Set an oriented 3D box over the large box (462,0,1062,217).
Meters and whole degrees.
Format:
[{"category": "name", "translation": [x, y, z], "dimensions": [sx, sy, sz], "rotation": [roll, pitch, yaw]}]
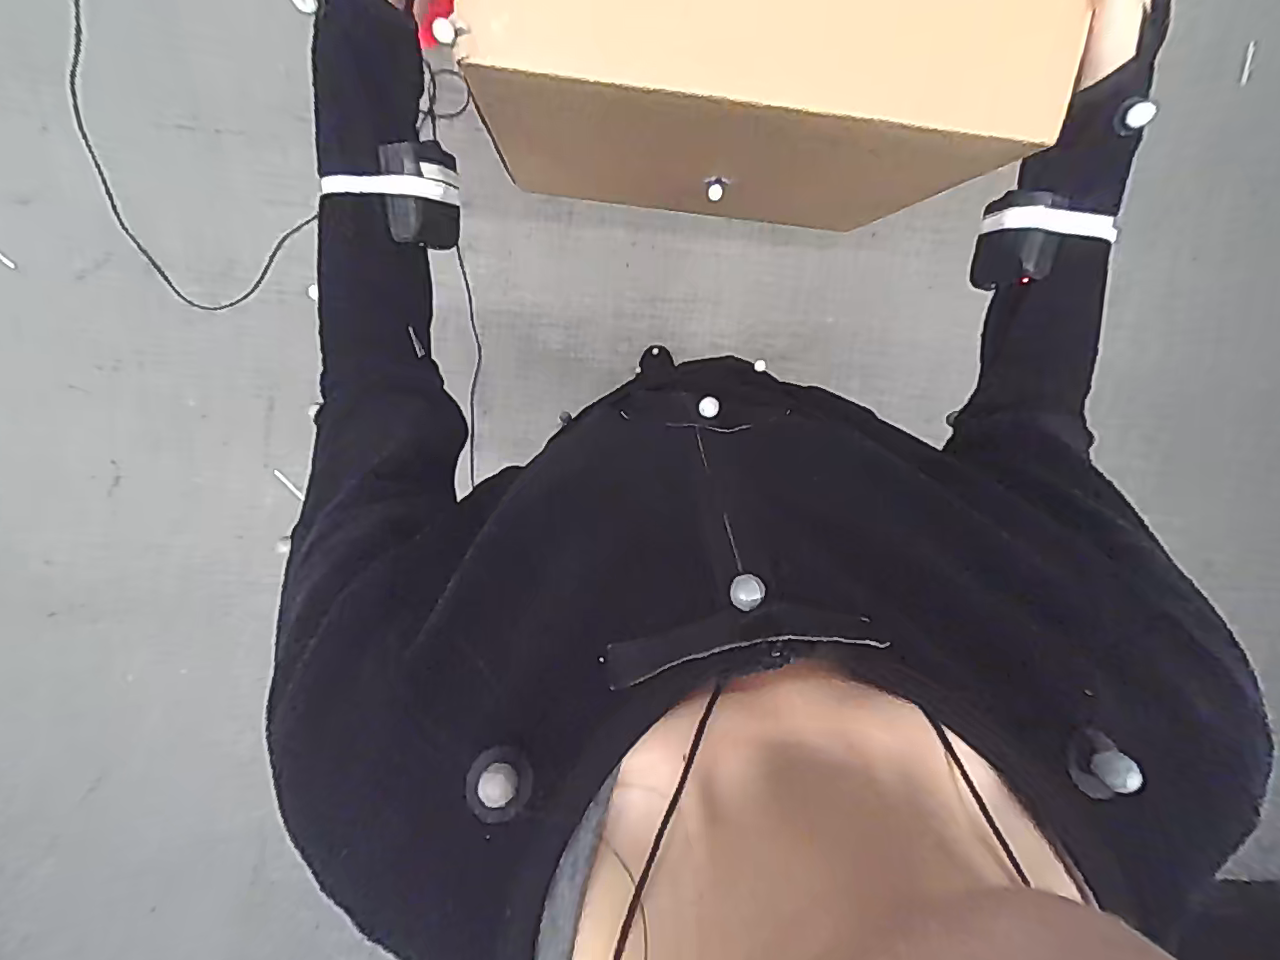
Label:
[{"category": "large box", "translation": [0.085, -0.437, 0.472], "dimensions": [0.408, 0.320, 0.320], "rotation": [4, 104, -5]}]
